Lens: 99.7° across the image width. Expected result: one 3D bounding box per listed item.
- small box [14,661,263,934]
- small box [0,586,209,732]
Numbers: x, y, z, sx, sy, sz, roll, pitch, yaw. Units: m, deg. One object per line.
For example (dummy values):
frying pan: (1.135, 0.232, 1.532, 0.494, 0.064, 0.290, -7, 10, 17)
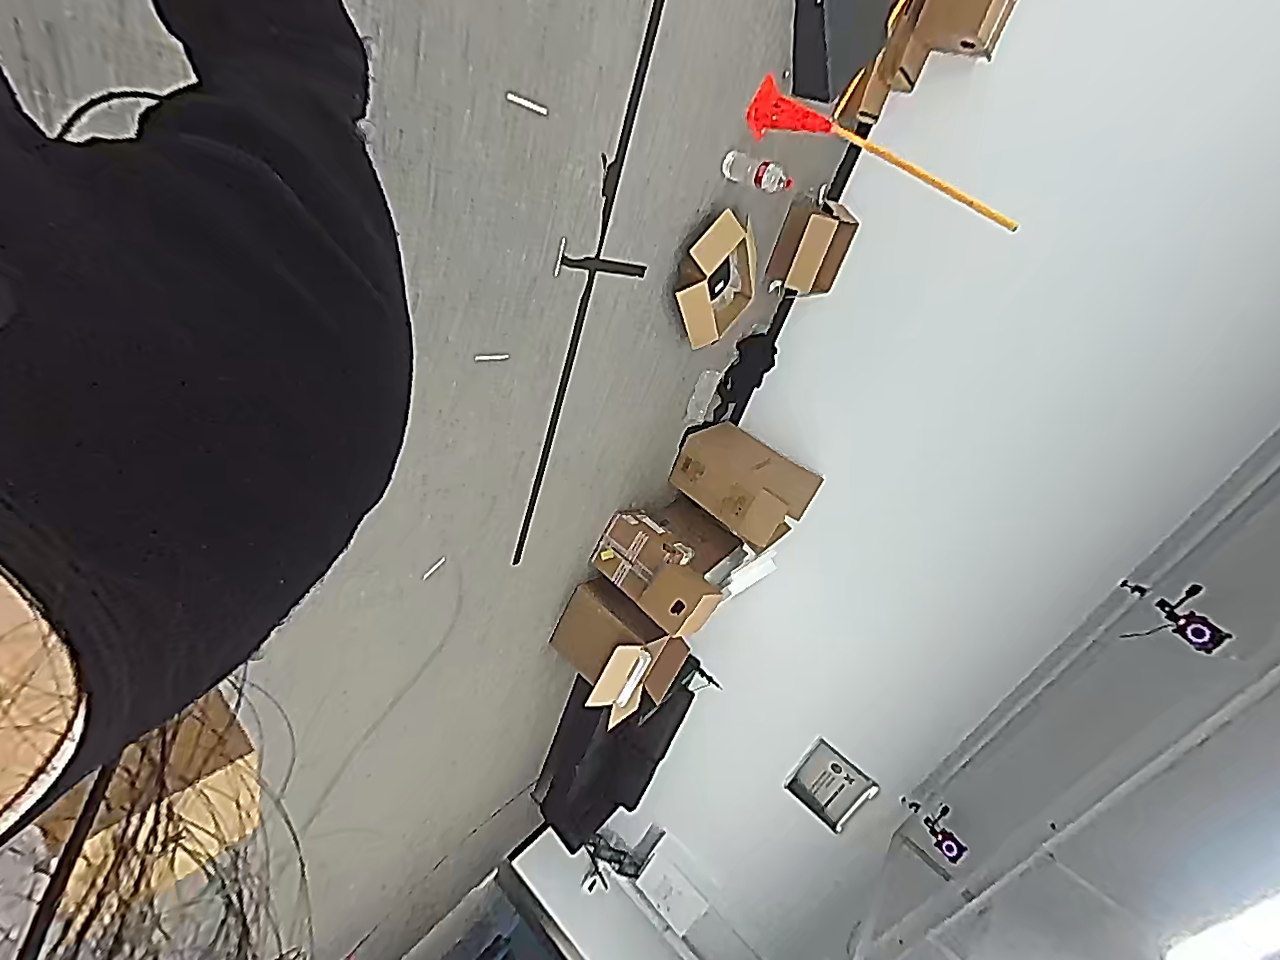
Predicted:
small box: (-0.562, 0.348, 0.621, 0.168, 0.176, 0.179, -22, 139, -50)
small box: (-0.679, 0.259, 0.690, 0.168, 0.176, 0.179, -20, 139, -50)
